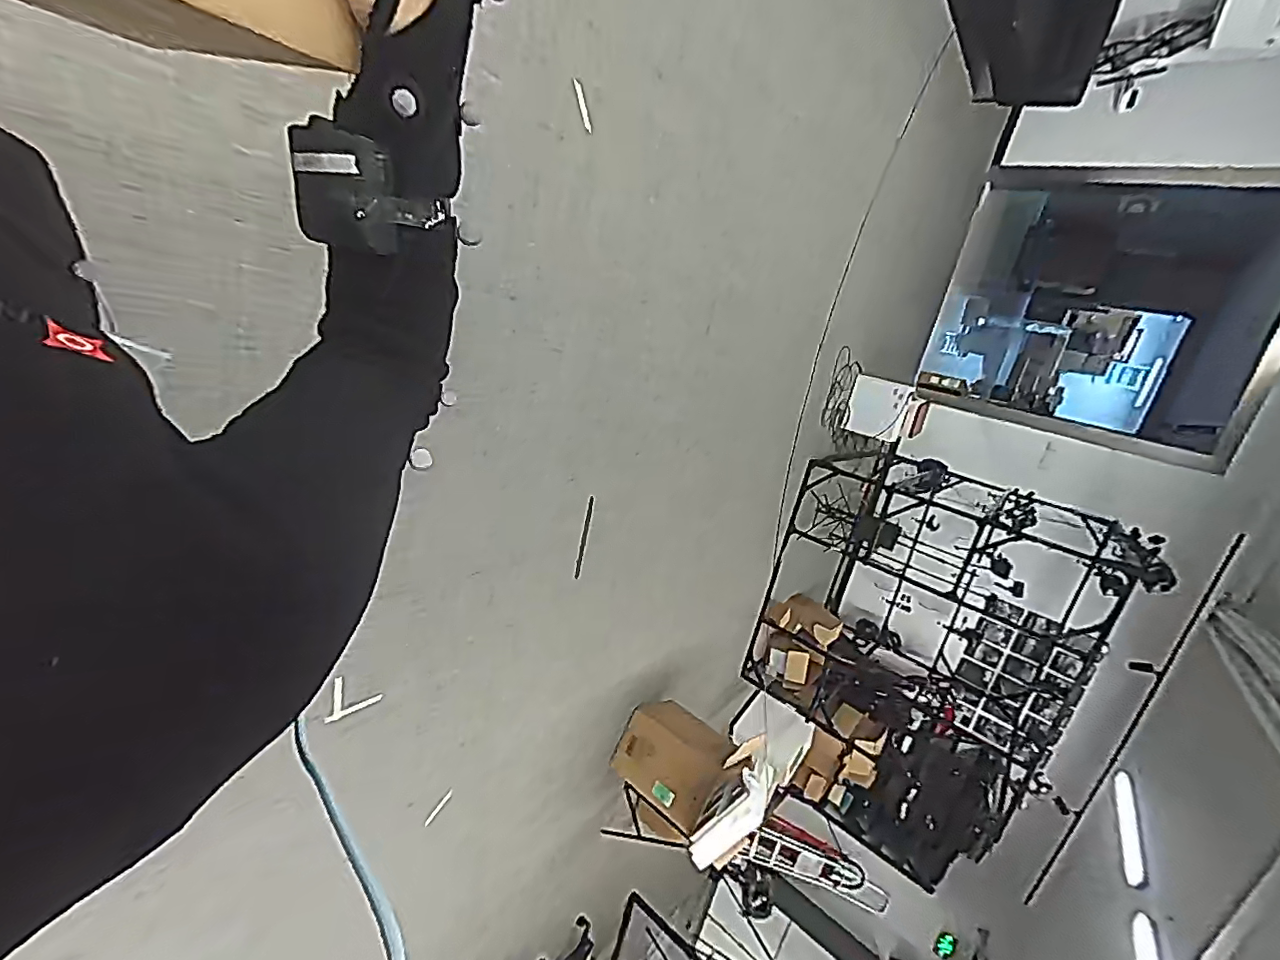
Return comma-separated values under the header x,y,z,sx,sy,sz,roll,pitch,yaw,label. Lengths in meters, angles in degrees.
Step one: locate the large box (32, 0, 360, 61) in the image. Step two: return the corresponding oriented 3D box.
x,y,z,sx,sy,sz,roll,pitch,yaw,label
-0.349,-0.384,0.148,0.408,0.320,0.320,-18,131,-53,large box
